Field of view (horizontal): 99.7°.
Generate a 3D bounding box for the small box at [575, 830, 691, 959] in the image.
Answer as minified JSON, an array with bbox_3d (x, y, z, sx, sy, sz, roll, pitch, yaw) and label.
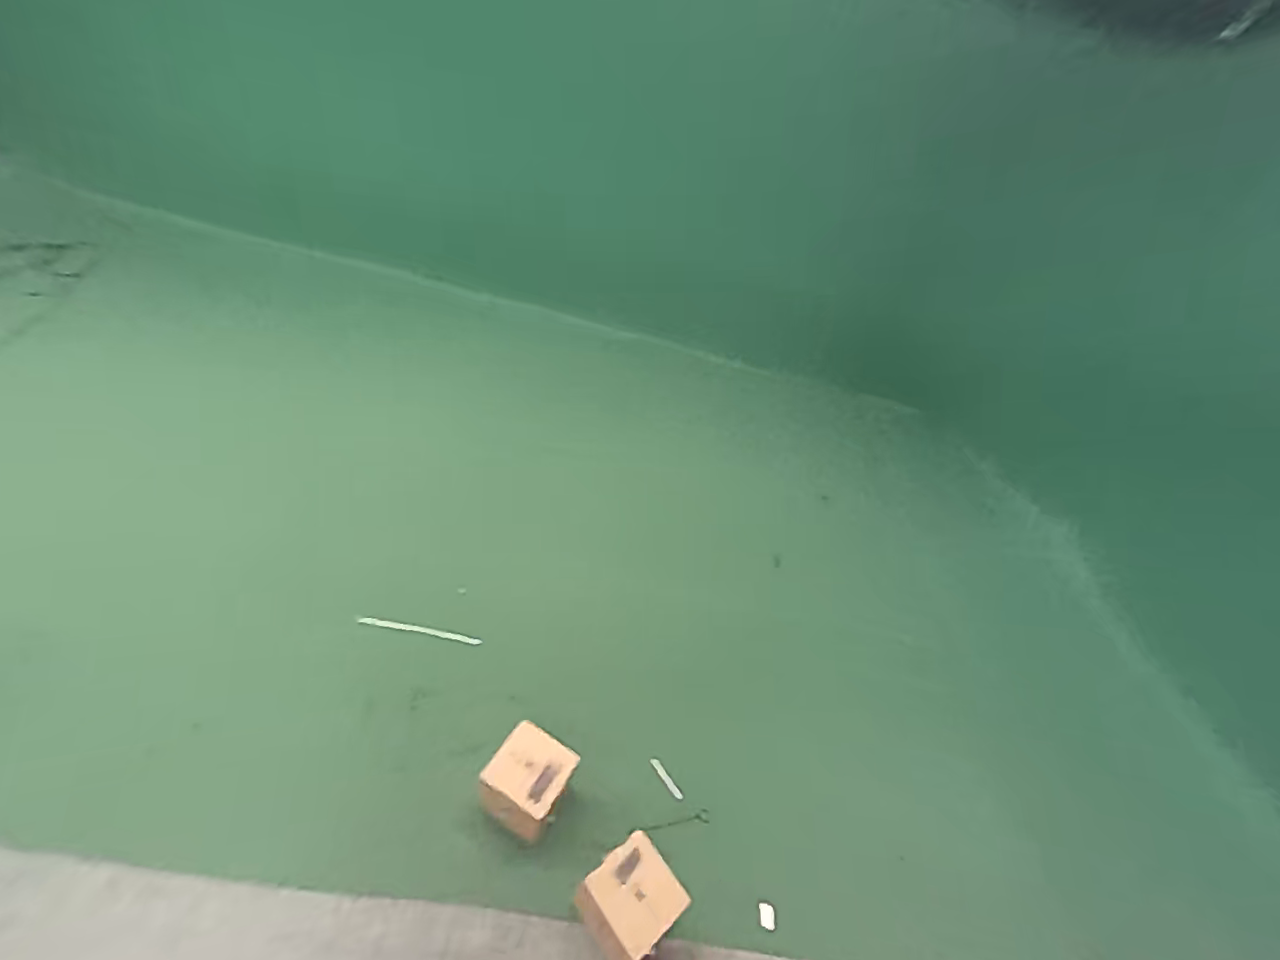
[{"bbox_3d":[-0.024,0.932,1.194,0.168,0.176,0.179,-21,52,-38],"label":"small box"}]
